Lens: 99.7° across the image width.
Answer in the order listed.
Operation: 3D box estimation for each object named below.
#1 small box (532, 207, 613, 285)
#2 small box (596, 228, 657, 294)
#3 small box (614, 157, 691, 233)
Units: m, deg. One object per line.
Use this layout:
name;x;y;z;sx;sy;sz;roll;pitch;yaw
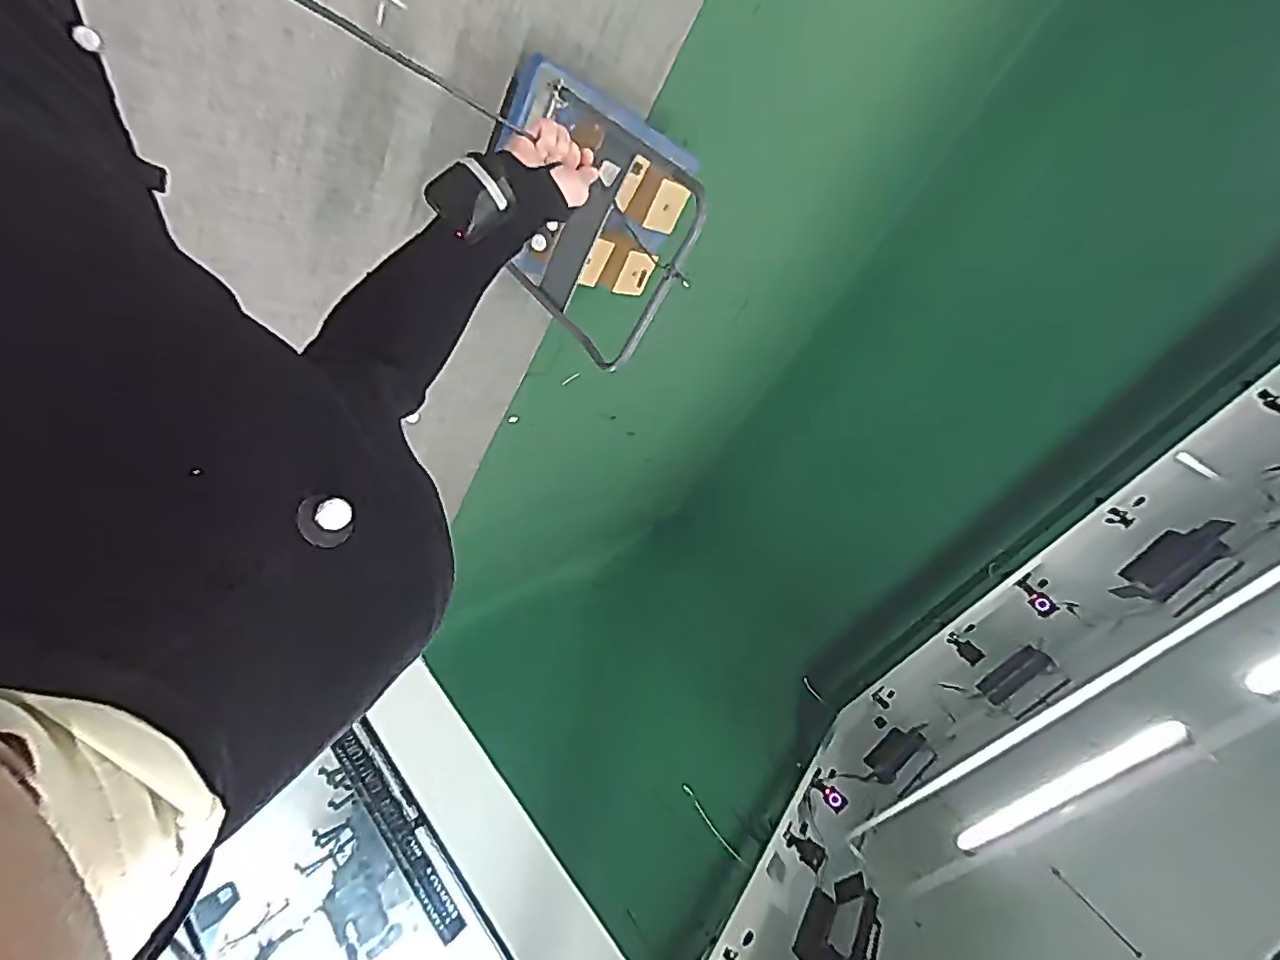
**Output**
small box;-0.230;-0.789;1.826;0.179;0.176;0.168;-12;142;-54
small box;-0.074;-0.827;2.044;0.179;0.176;0.168;-16;145;-50
small box;0.039;-1.008;1.909;0.179;0.176;0.168;-17;147;-51
